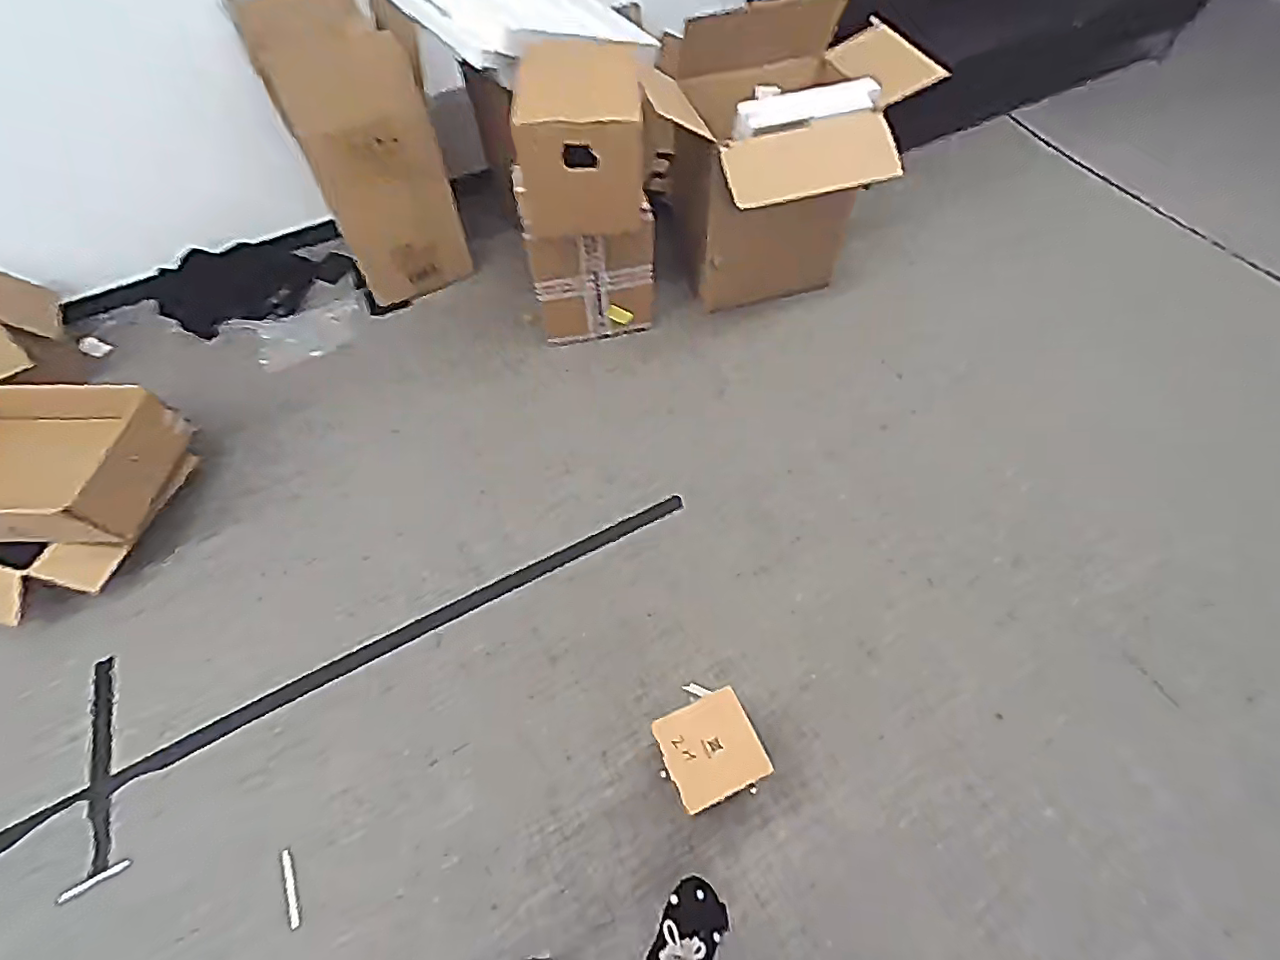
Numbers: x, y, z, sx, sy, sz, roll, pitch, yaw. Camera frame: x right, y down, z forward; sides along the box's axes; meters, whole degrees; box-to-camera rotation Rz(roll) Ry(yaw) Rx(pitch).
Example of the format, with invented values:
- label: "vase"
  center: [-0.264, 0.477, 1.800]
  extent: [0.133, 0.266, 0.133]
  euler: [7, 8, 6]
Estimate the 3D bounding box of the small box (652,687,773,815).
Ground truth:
- label: "small box"
  center: [0.135, 0.533, 1.065]
  extent: [0.179, 0.176, 0.168]
  euler: [-22, 59, -10]
